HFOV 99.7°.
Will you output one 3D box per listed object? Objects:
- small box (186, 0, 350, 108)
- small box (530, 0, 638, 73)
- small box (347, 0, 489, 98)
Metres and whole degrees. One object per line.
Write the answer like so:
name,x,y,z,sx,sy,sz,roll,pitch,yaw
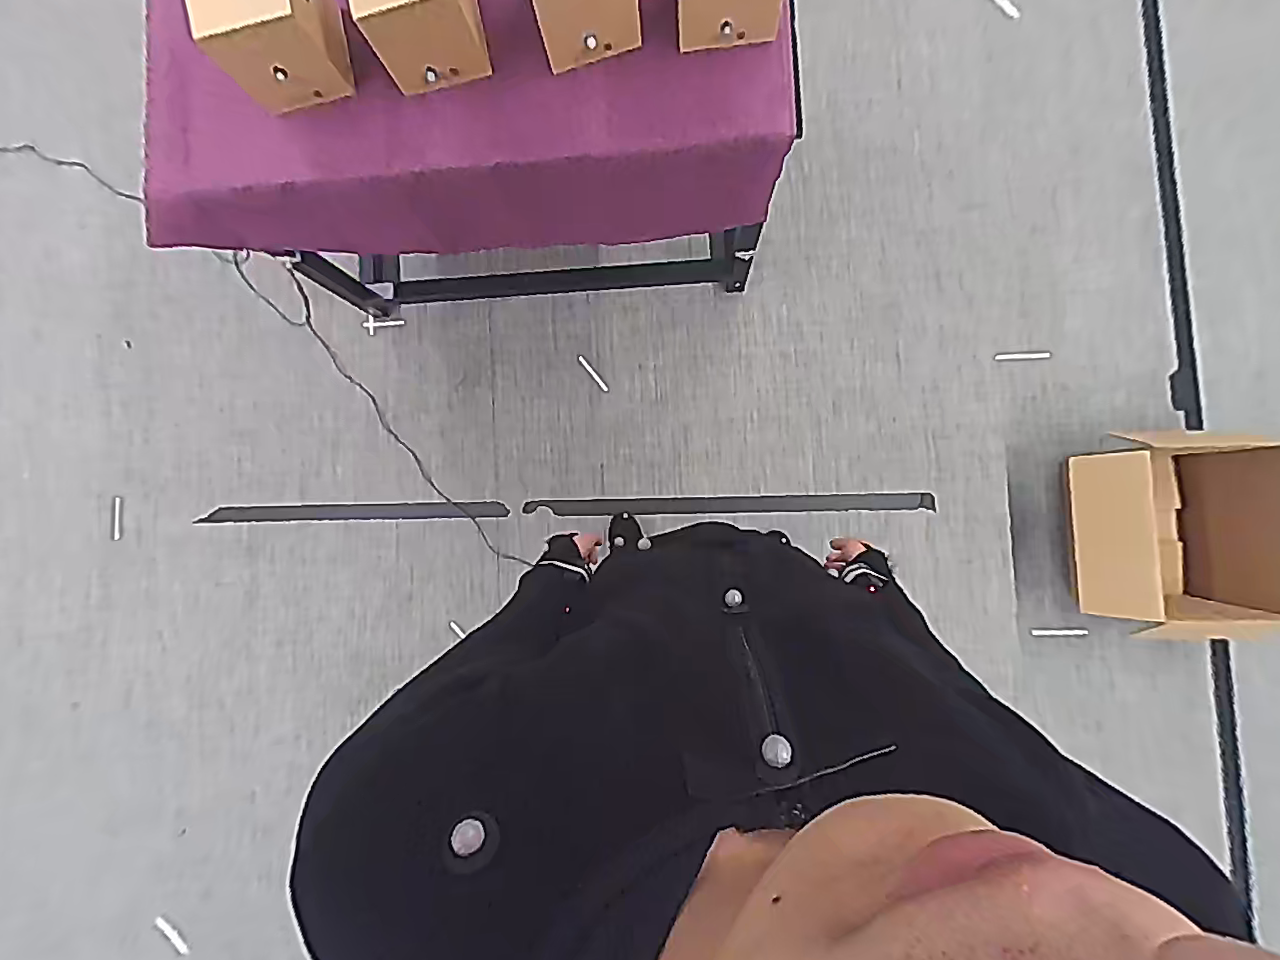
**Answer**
small box,-0.621,-0.771,0.914,0.168,0.176,0.179,-11,86,3
small box,-0.105,-0.825,0.880,0.168,0.176,0.179,-16,87,3
small box,-0.369,-0.793,0.898,0.168,0.176,0.179,-12,87,4
